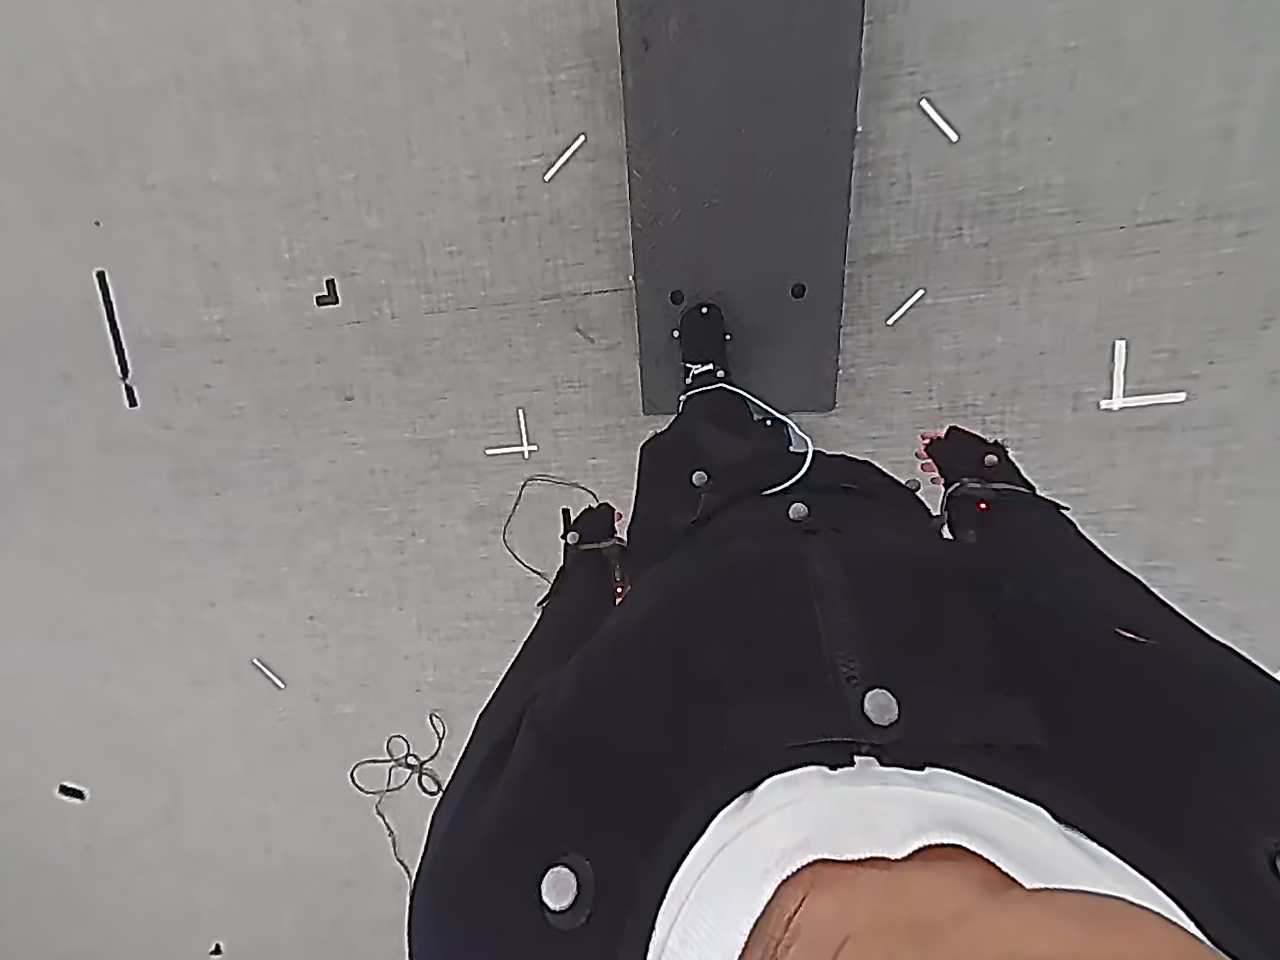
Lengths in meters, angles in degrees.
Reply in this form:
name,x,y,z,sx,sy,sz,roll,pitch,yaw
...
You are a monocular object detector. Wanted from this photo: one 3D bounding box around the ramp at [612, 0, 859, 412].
name,x,y,z,sx,sy,sz,roll,pitch,yaw
ramp,0.211,-0.642,1.210,0.509,0.206,0.991,-3,103,8
